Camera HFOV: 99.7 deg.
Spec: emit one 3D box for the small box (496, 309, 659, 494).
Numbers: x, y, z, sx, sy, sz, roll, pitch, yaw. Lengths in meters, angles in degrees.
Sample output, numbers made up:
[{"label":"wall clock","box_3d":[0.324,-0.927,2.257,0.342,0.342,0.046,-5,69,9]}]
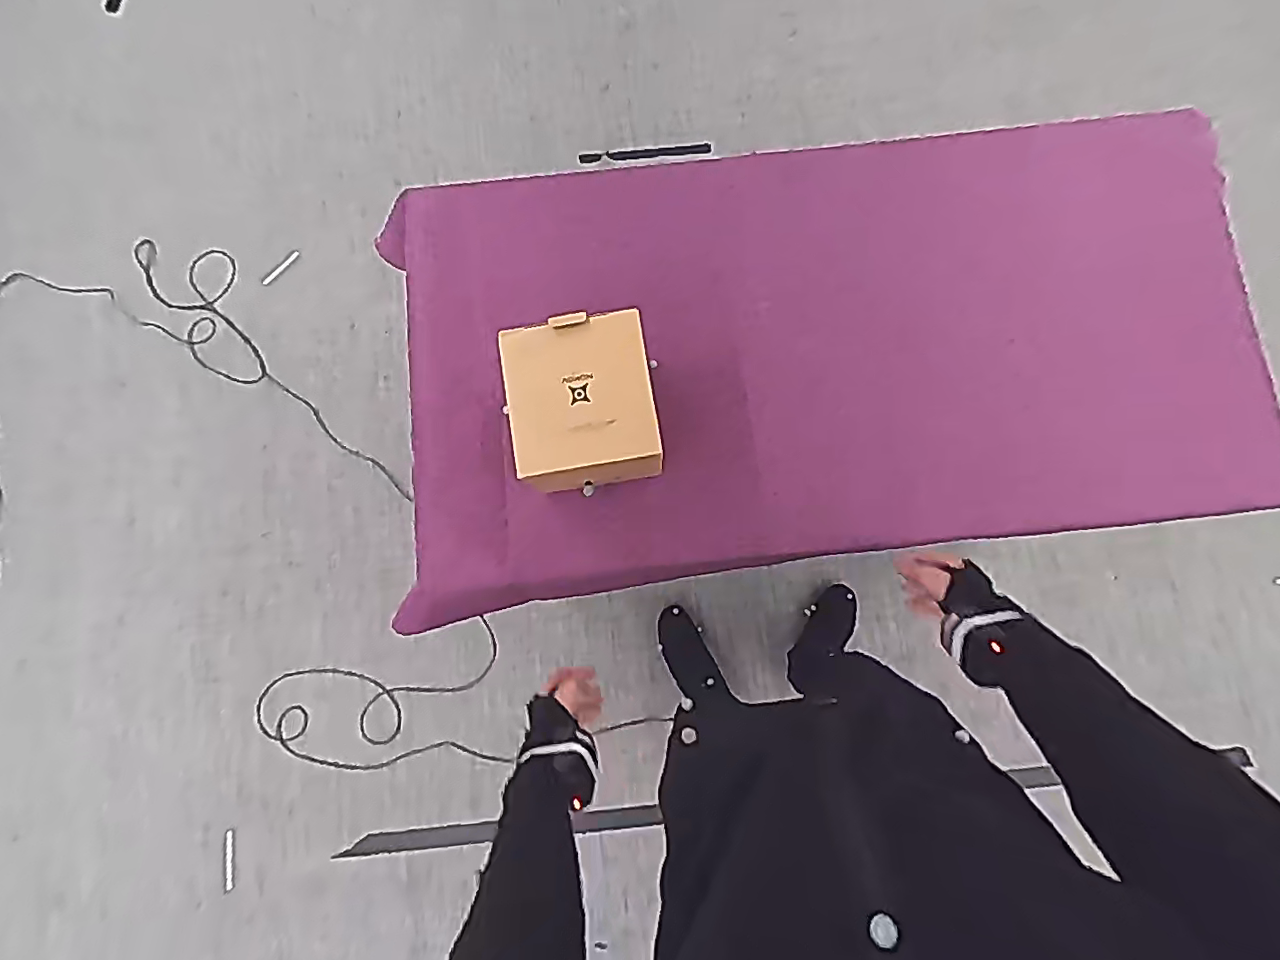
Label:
[{"label":"small box","box_3d":[-0.071,-0.087,0.679,0.168,0.176,0.179,-9,82,0]}]
